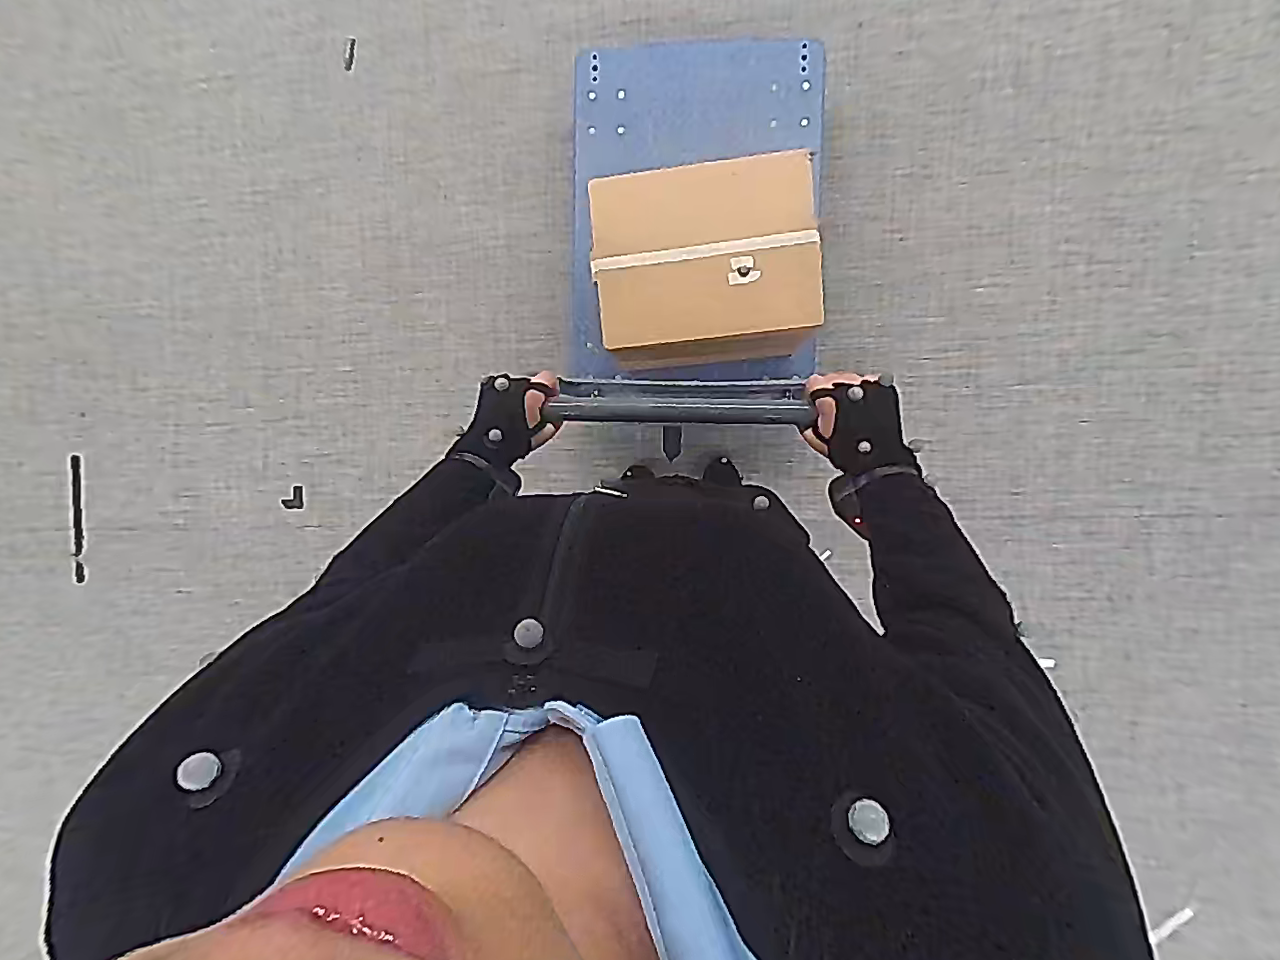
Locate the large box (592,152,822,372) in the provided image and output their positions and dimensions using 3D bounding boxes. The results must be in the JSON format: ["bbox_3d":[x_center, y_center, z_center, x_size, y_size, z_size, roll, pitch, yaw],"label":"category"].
[{"bbox_3d":[0.132,-0.427,1.146,0.408,0.320,0.320,-6,94,5],"label":"large box"}]
